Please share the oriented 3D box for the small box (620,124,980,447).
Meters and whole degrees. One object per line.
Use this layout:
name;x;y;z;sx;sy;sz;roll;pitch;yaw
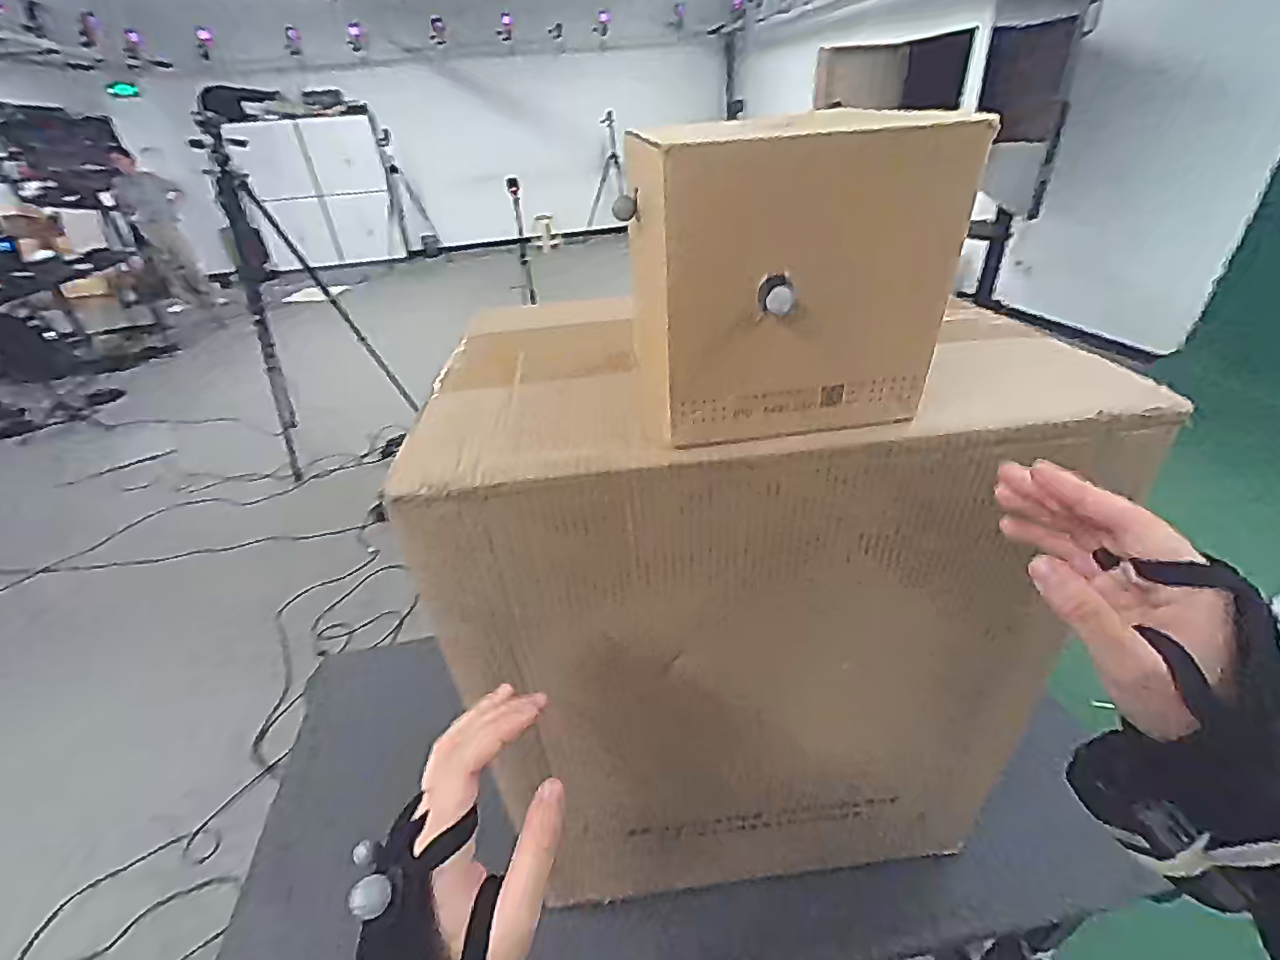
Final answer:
small box;0.081;-0.132;0.369;0.168;0.176;0.179;-7;35;-4
